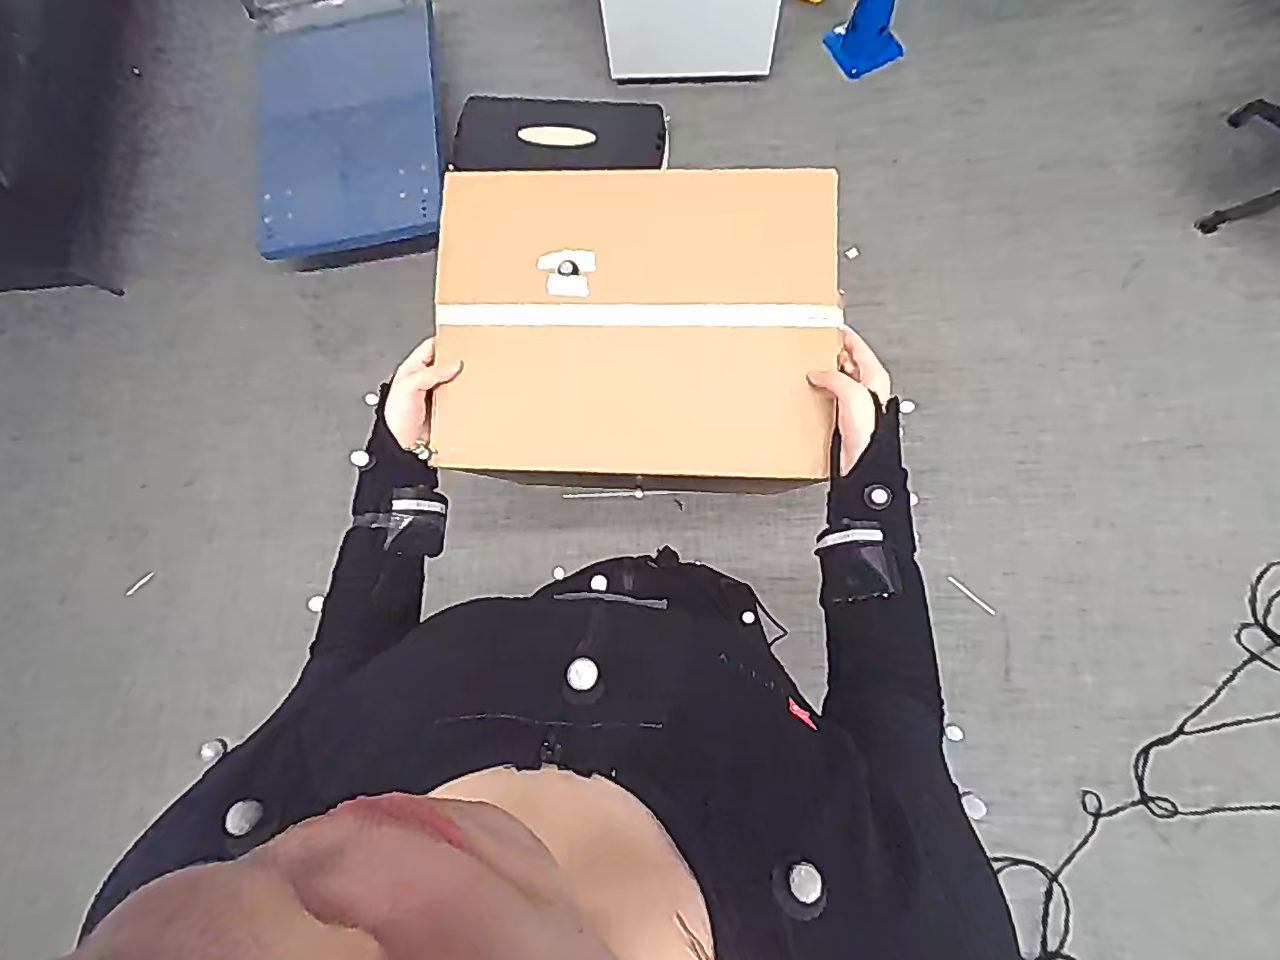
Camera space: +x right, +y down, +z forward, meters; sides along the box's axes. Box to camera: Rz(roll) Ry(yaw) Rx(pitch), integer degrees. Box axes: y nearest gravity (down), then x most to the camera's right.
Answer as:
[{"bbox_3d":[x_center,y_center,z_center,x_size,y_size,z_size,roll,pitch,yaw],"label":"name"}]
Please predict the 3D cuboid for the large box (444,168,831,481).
[{"bbox_3d":[0.009,-0.158,0.705,0.408,0.320,0.320,1,86,6],"label":"large box"}]
